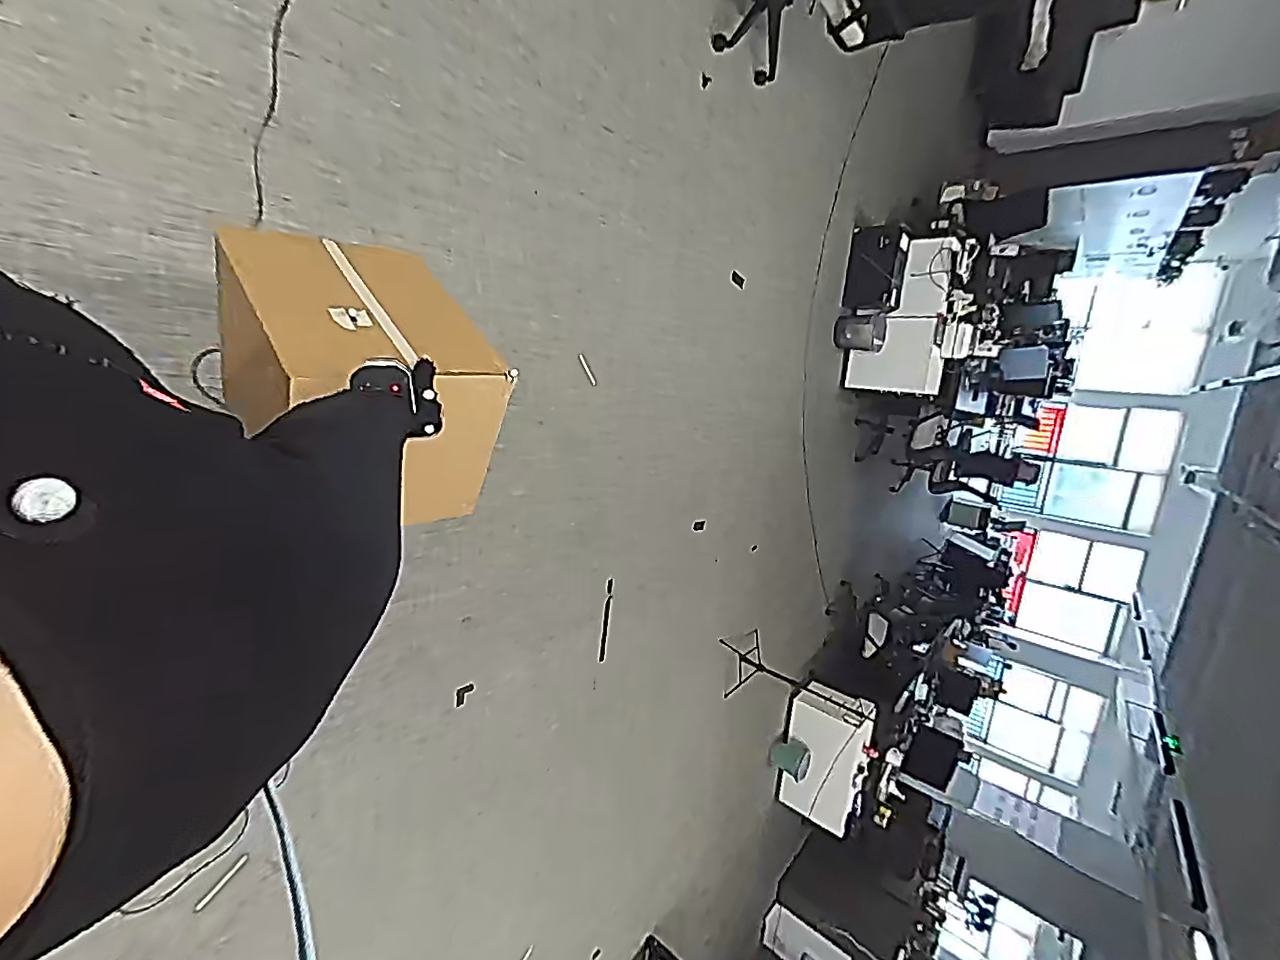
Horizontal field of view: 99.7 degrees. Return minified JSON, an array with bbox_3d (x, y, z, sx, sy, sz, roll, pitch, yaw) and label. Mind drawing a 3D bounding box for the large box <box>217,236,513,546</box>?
[{"bbox_3d":[-0.489,-0.157,0.934,0.320,0.408,0.320,-13,142,-44],"label":"large box"}]
